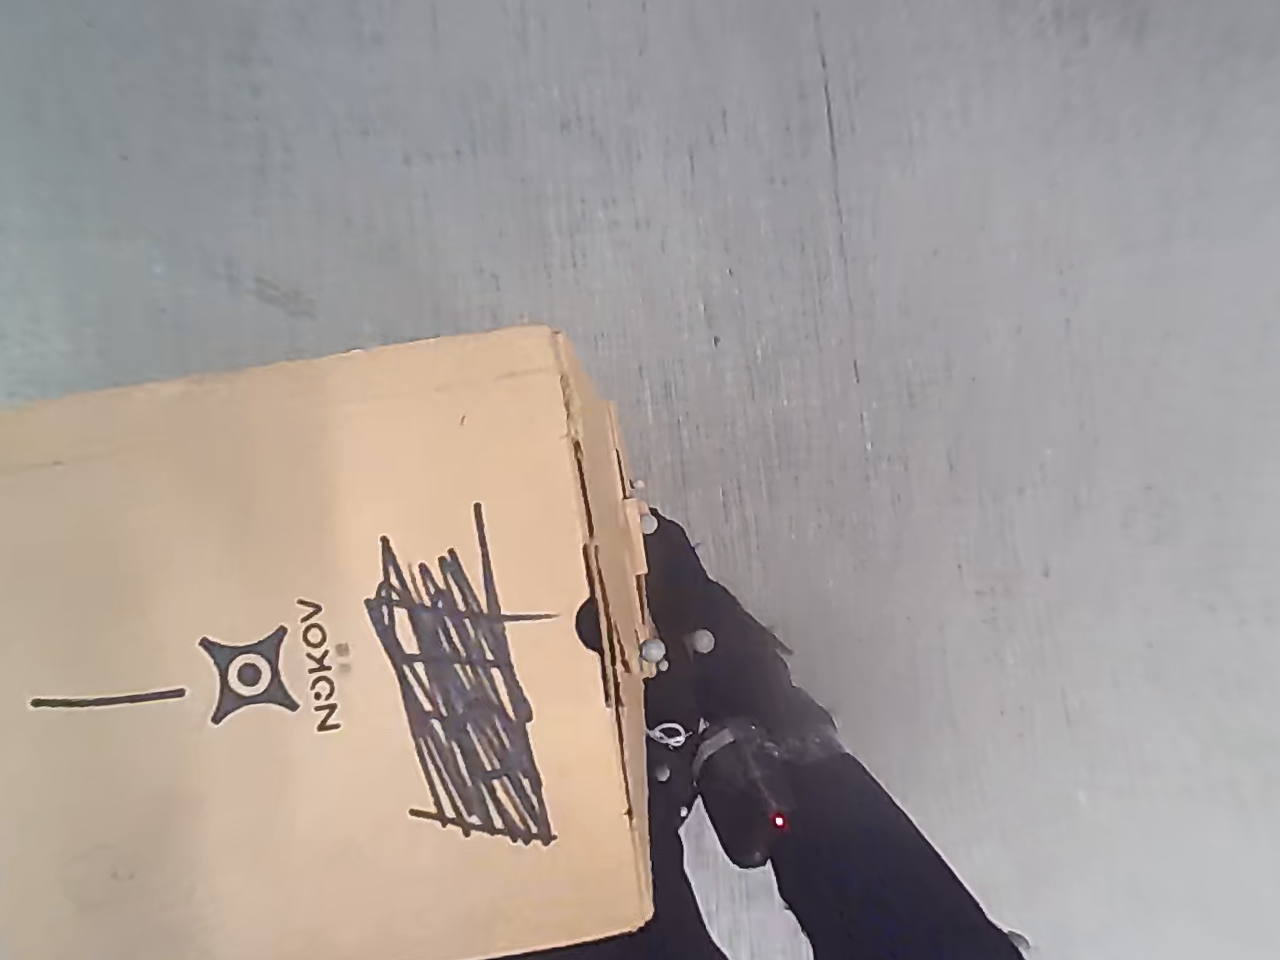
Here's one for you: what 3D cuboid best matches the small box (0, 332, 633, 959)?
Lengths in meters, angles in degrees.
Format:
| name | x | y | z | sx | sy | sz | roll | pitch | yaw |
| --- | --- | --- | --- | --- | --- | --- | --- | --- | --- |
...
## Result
| name | x | y | z | sx | sy | sz | roll | pitch | yaw |
| --- | --- | --- | --- | --- | --- | --- | --- | --- | --- |
| small box | -0.097 | 0.050 | 0.219 | 0.179 | 0.176 | 0.168 | -6 | 88 | 0 |

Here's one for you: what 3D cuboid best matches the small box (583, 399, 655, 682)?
| name | x | y | z | sx | sy | sz | roll | pitch | yaw |
| --- | --- | --- | --- | --- | --- | --- | --- | --- | --- |
| small box | -0.090 | 0.046 | 0.384 | 0.179 | 0.176 | 0.168 | -10 | 88 | 0 |
